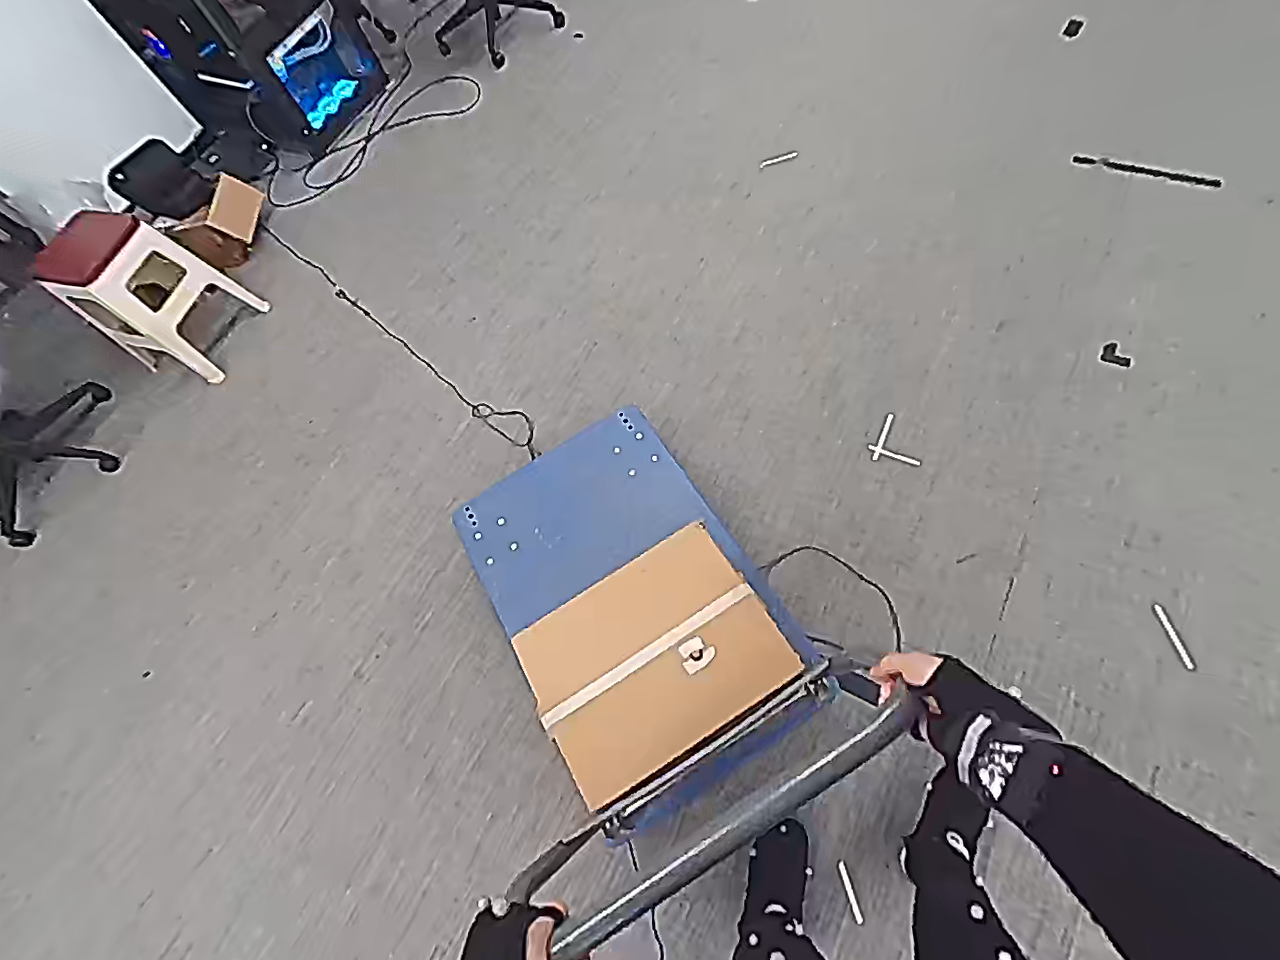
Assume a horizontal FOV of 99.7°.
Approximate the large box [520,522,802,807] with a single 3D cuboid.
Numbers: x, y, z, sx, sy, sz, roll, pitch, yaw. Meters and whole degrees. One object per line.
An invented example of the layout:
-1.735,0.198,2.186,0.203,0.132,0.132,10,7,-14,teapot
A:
0.048,0.357,1.054,0.408,0.320,0.320,-32,64,-5,large box
